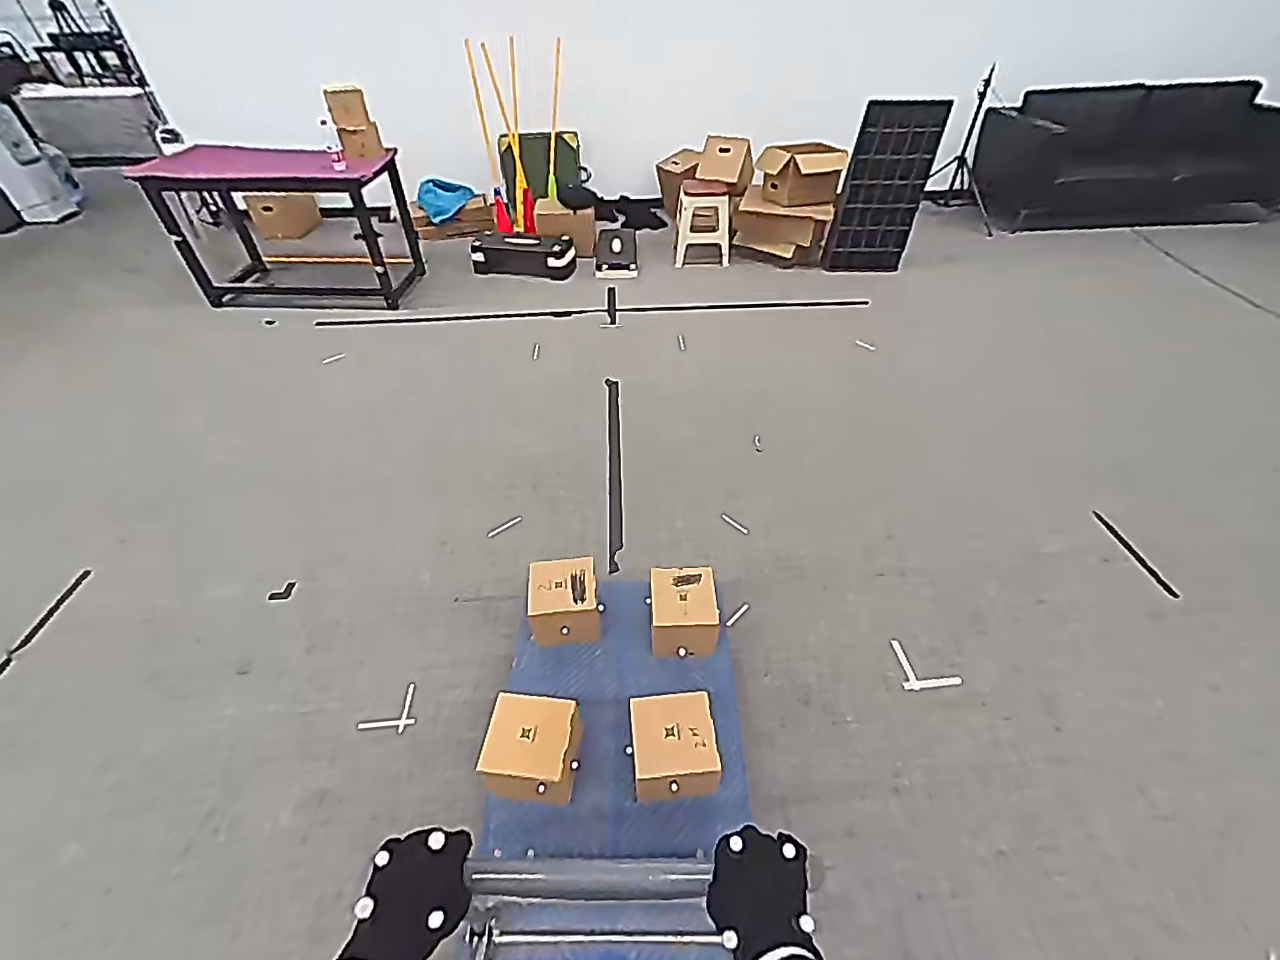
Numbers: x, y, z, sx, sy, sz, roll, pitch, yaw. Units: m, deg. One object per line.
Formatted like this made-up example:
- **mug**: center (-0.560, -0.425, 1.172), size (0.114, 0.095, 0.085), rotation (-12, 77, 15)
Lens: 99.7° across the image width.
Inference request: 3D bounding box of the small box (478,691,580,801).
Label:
- **small box**: center (-0.237, 0.593, 1.203), size (0.179, 0.176, 0.168), rotation (5, 43, 4)

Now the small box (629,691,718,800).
- **small box**: center (0.070, 0.591, 1.200), size (0.179, 0.176, 0.168), rotation (-4, 44, -3)

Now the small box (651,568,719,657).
- **small box**: center (0.113, 0.355, 1.448), size (0.168, 0.176, 0.179), rotation (-1, 44, 0)
